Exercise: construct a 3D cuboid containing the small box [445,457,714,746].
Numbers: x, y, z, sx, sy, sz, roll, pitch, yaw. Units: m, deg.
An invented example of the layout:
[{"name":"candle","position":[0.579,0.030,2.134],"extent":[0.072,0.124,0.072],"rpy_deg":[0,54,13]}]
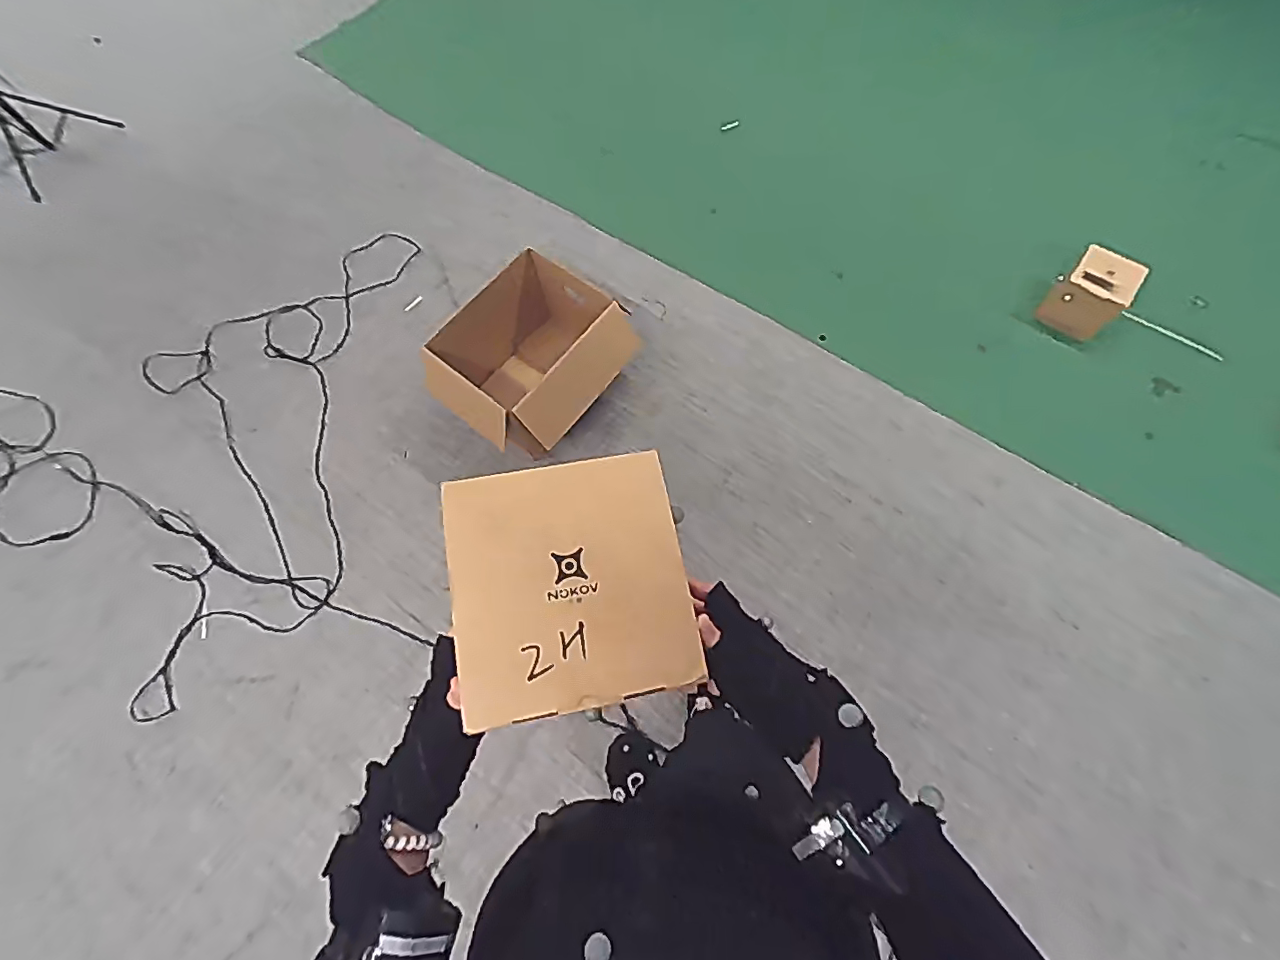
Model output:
[{"name":"small box","position":[-0.053,0.101,0.447],"extent":[0.168,0.176,0.179],"rpy_deg":[-10,72,-8]}]
